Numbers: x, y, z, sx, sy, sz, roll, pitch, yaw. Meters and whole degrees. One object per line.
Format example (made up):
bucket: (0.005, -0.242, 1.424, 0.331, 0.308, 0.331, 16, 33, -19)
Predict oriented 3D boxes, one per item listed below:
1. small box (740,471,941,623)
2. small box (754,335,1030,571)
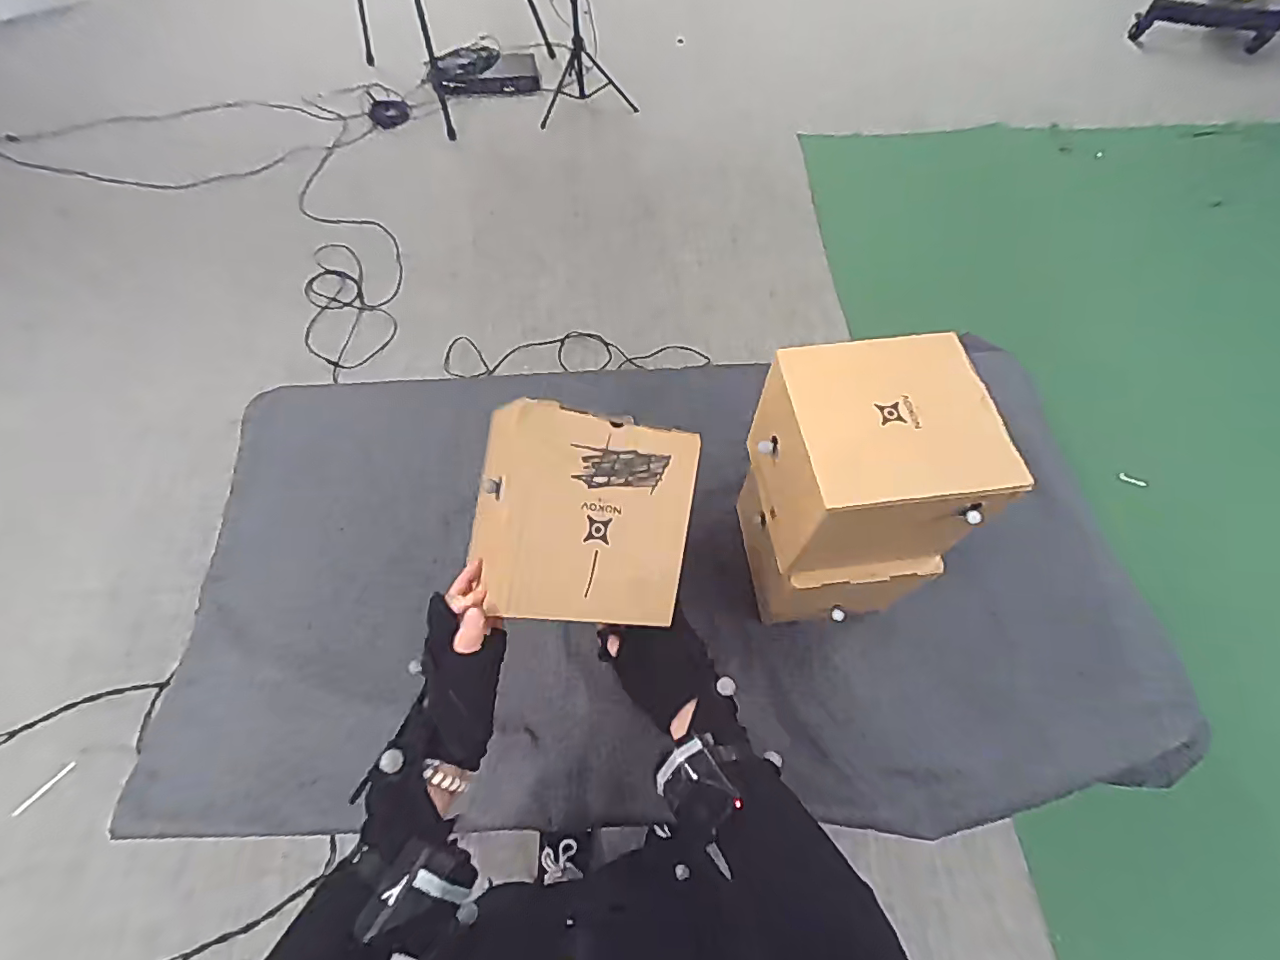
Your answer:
small box: (0.230, 0.067, 0.677, 0.168, 0.176, 0.179, -6, 63, -2)
small box: (0.220, -0.018, 0.537, 0.179, 0.176, 0.168, -6, 62, -4)
